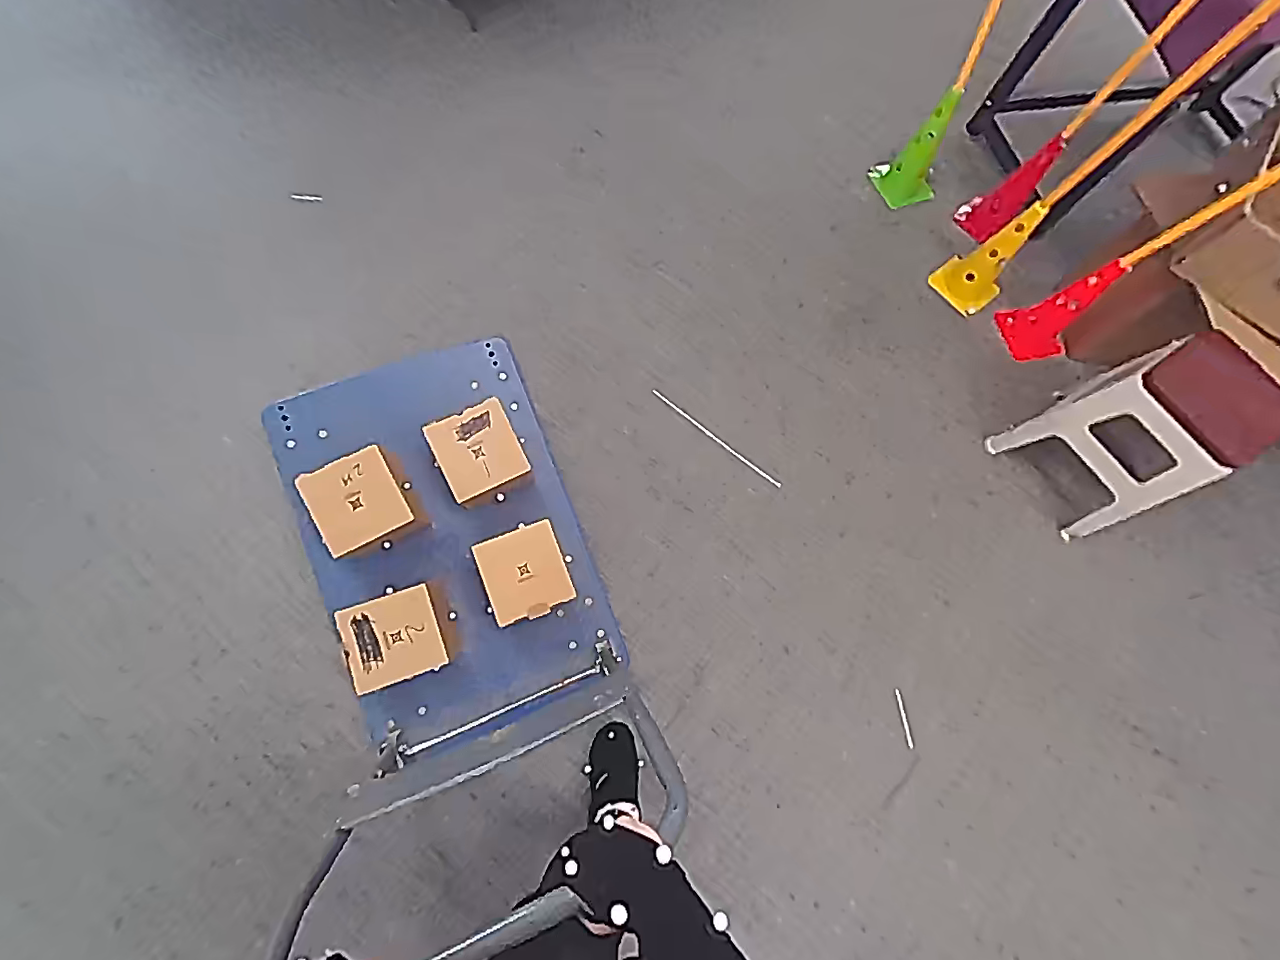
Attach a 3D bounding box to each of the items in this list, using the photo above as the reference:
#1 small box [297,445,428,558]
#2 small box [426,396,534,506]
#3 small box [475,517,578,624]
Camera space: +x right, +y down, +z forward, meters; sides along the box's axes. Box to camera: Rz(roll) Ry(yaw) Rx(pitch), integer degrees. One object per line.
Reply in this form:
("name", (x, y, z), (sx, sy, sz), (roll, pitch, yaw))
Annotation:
("small box", (-0.570, 0.048, 1.139), (0.168, 0.176, 0.179), (-28, 88, -13))
("small box", (-0.345, -0.056, 1.192), (0.168, 0.176, 0.179), (-26, 88, -11))
("small box", (-0.244, 0.193, 1.177), (0.168, 0.176, 0.179), (-21, 87, -12))
